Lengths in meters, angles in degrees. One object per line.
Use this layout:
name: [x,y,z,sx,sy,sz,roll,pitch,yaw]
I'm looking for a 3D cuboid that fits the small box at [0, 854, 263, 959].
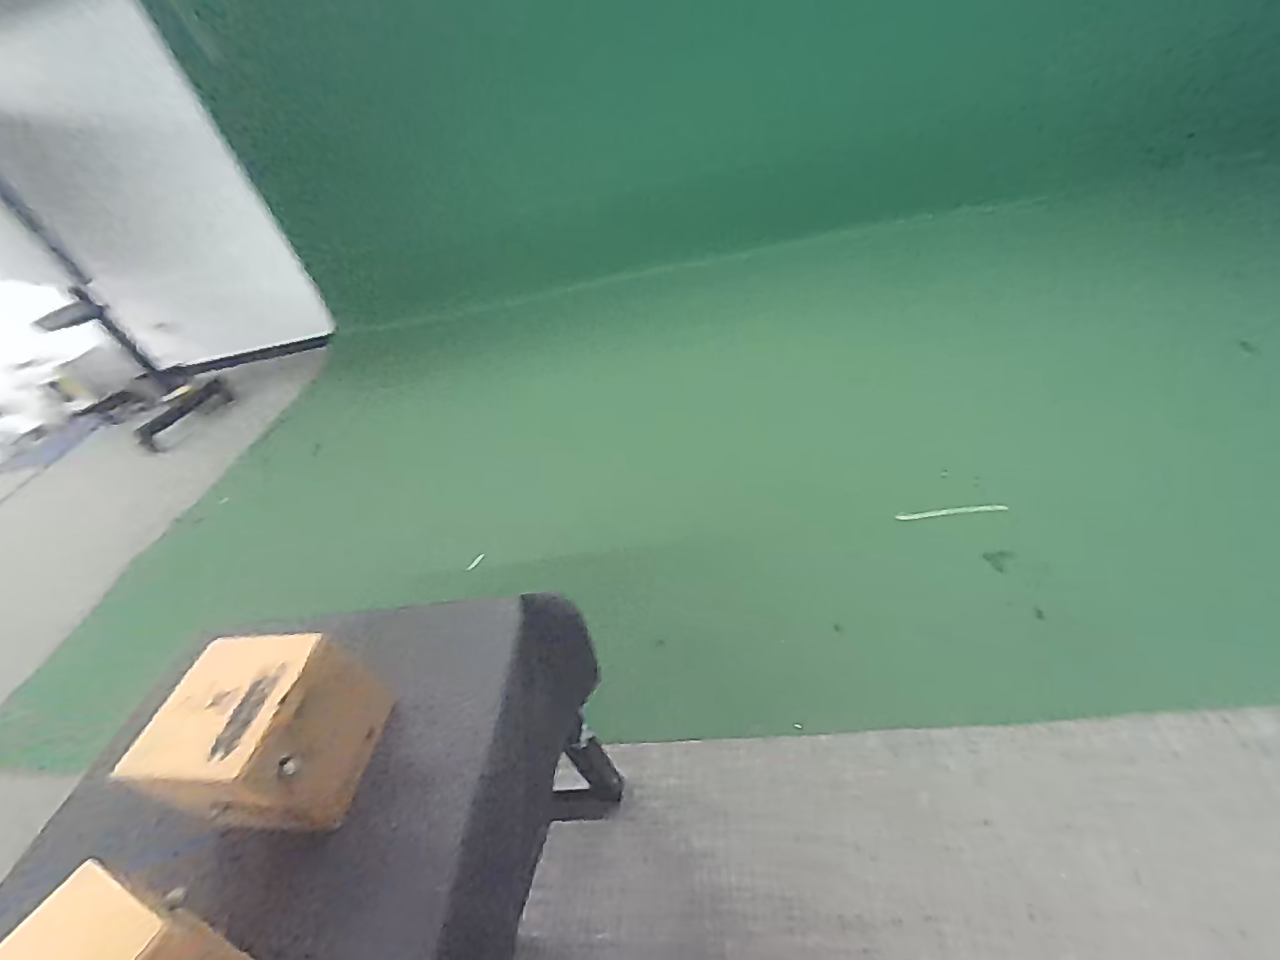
small box: [-0.420,0.444,0.424,0.179,0.176,0.168,-4,32,31]
